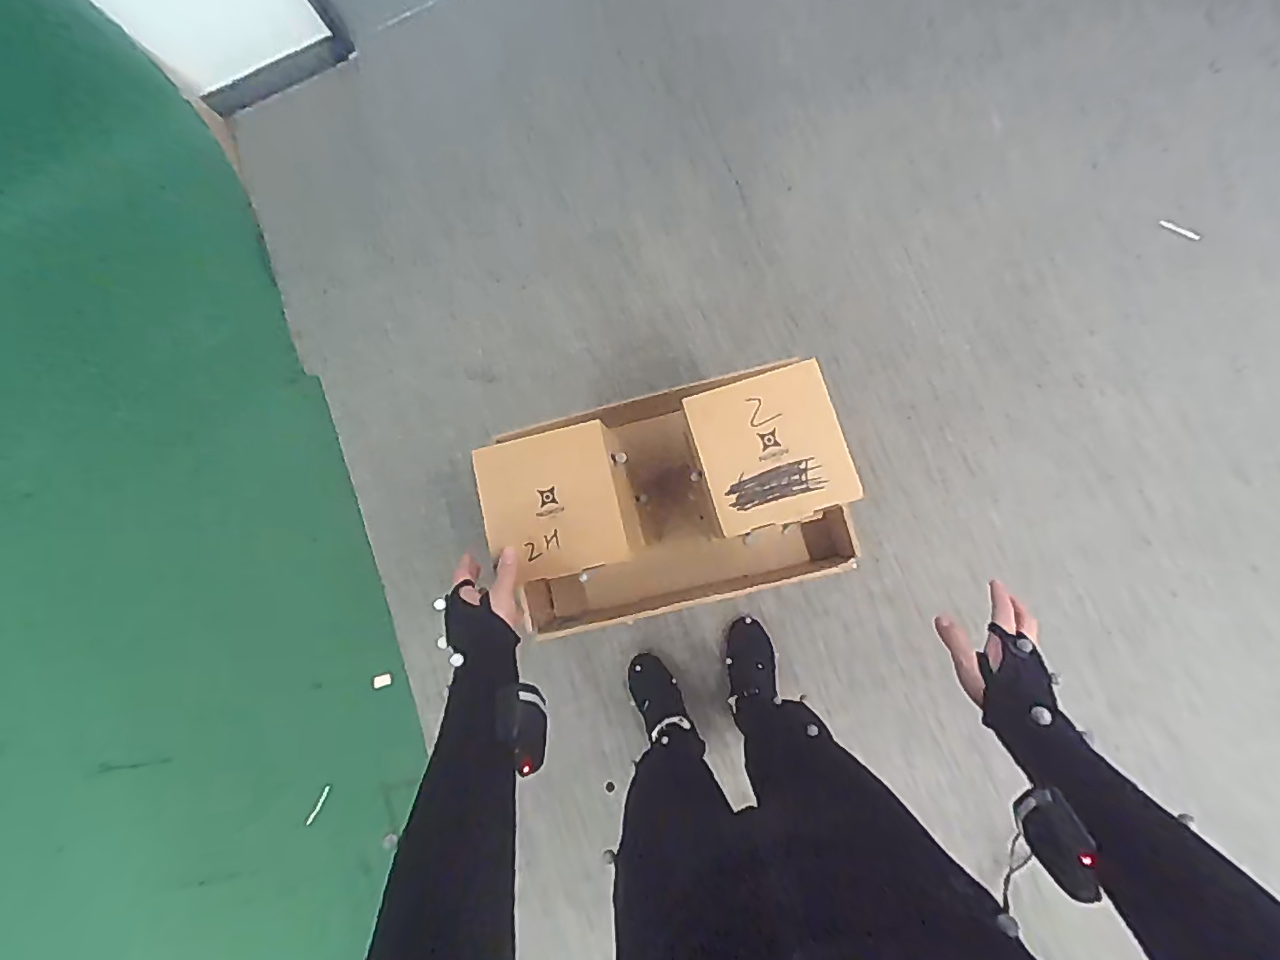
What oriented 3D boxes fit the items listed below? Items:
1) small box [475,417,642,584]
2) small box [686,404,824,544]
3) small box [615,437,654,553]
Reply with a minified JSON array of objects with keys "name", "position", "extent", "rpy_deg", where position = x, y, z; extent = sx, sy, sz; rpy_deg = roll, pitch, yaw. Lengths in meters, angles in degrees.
[{"name":"small box","position":[-0.098,0.033,0.718],"extent":[0.168,0.176,0.179],"rpy_deg":[-13,83,5]},{"name":"small box","position":[0.174,-0.001,0.855],"extent":[0.168,0.176,0.179],"rpy_deg":[-13,82,4]},{"name":"small box","position":[-0.077,0.044,0.881],"extent":[0.168,0.176,0.179],"rpy_deg":[-13,83,5]}]
